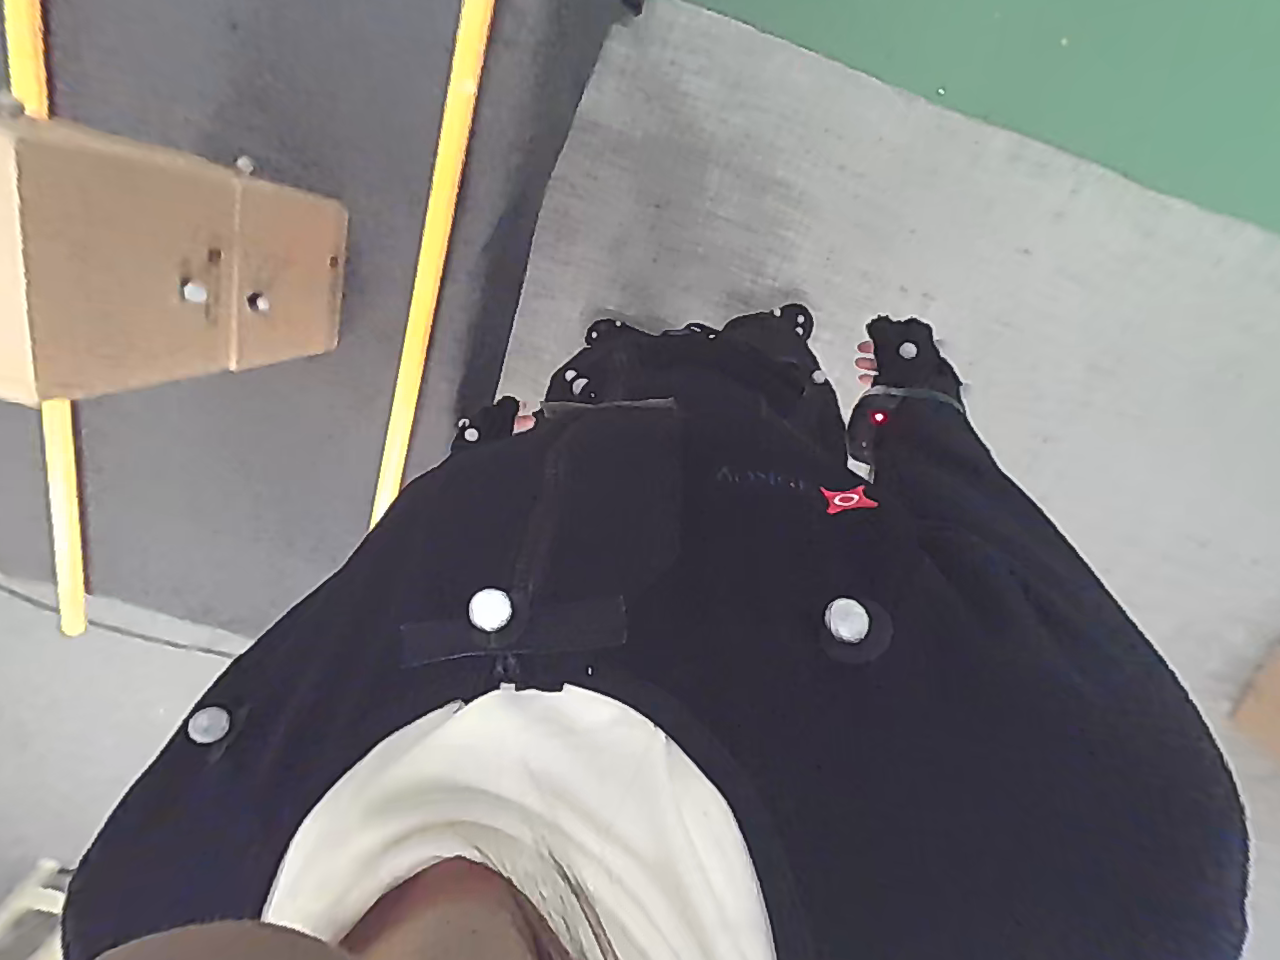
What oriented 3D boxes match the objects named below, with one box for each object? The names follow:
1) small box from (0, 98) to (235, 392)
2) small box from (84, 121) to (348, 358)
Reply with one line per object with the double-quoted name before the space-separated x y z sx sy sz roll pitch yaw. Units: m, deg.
"small box" -0.451 -0.182 0.399 0.179 0.176 0.168 17 111 -4
"small box" -0.437 -0.238 0.554 0.179 0.176 0.168 16 112 -2
